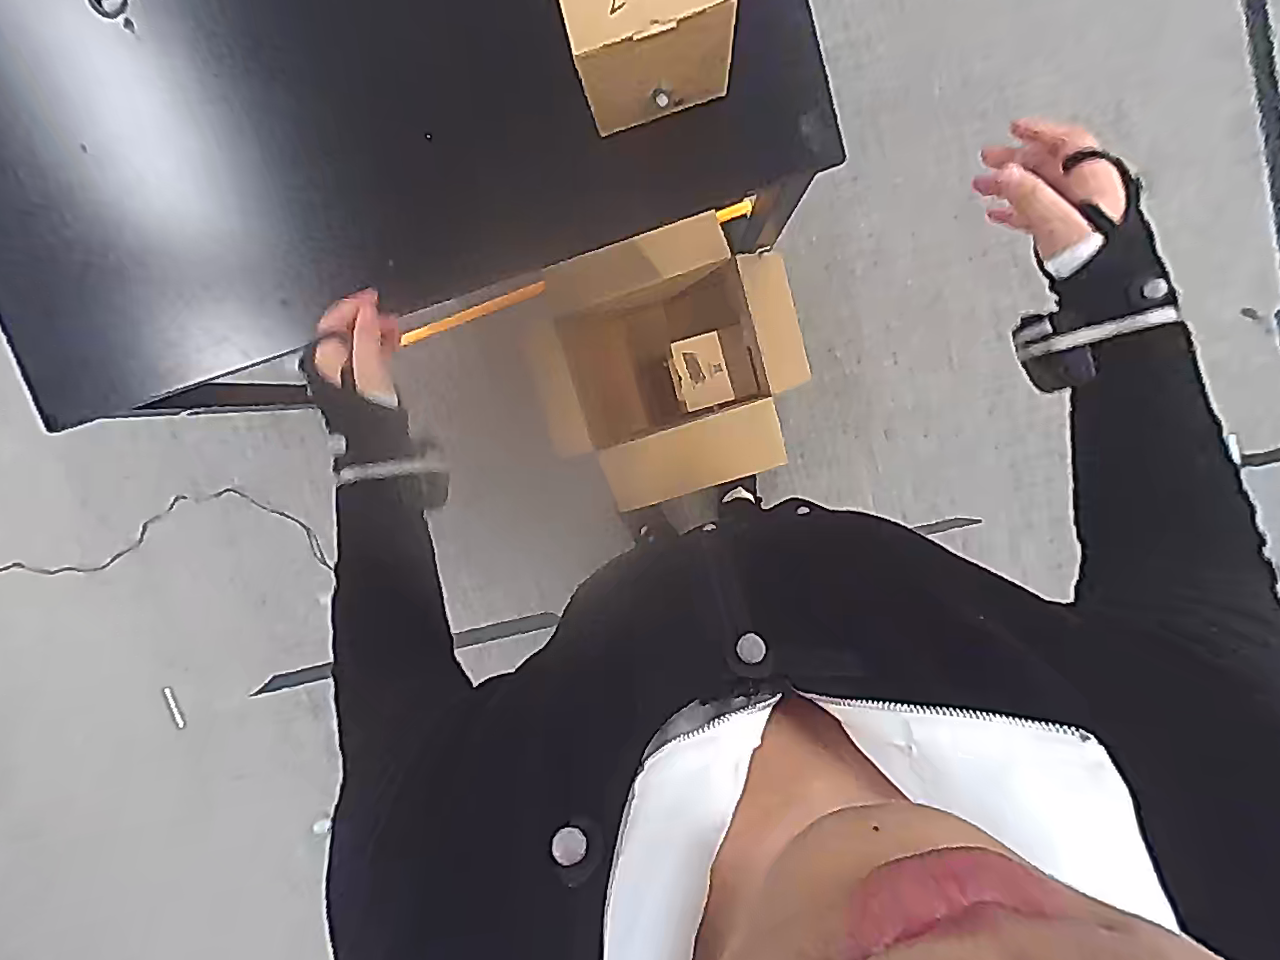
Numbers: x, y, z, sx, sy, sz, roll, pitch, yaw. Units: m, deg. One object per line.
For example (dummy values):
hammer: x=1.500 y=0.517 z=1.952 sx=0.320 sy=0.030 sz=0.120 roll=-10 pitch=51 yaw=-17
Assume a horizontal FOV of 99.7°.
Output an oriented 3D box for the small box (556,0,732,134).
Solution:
small box: x=-0.005 y=-0.528 z=0.591 sx=0.168 sy=0.176 sz=0.179 roll=-14 pitch=97 yaw=7
